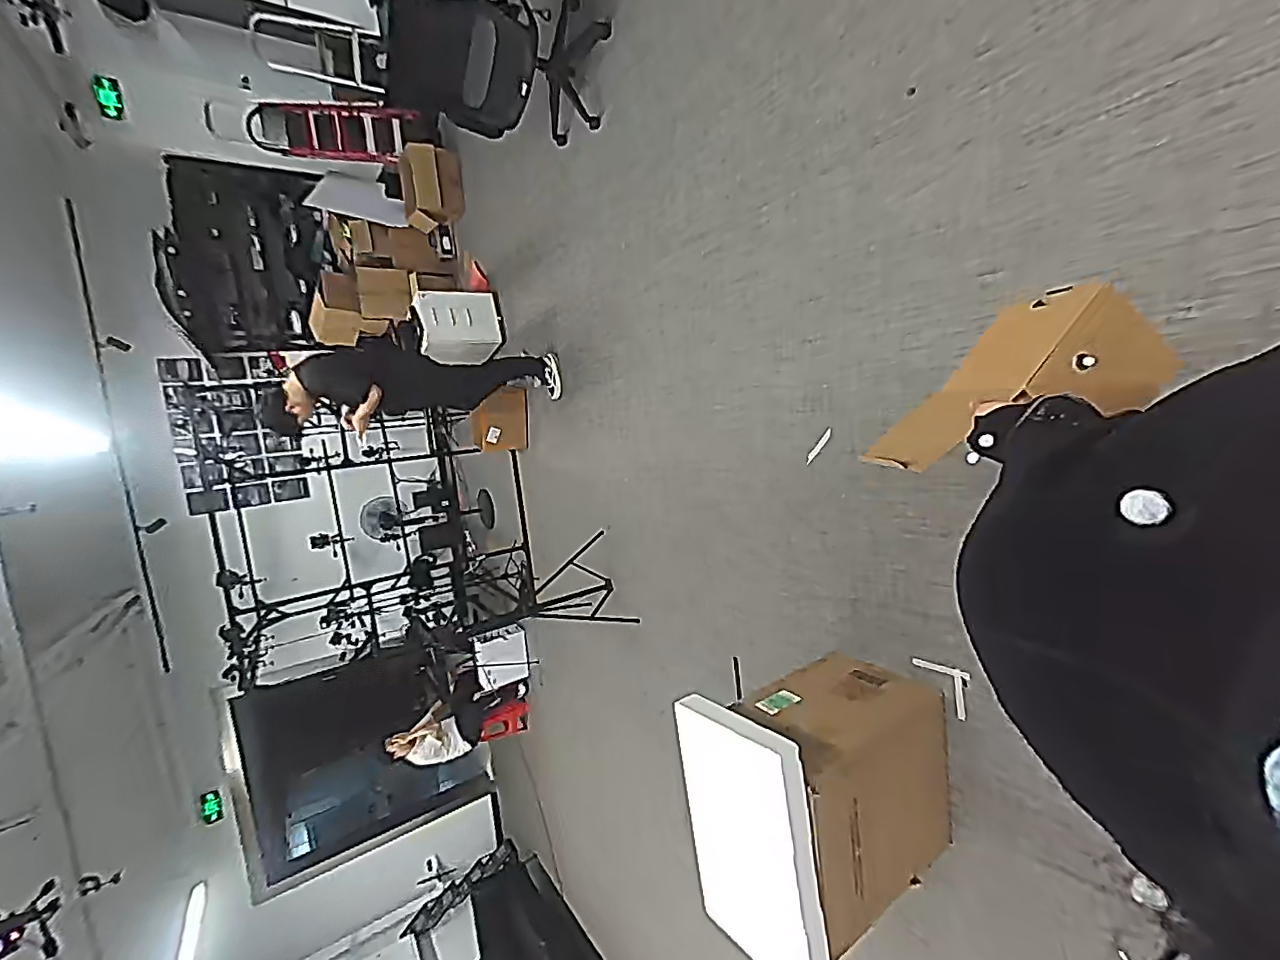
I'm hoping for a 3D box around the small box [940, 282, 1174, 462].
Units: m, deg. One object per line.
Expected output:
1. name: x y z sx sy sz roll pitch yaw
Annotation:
1. small box: 0.592 -0.145 0.776 0.179 0.176 0.168 -52 11 2
